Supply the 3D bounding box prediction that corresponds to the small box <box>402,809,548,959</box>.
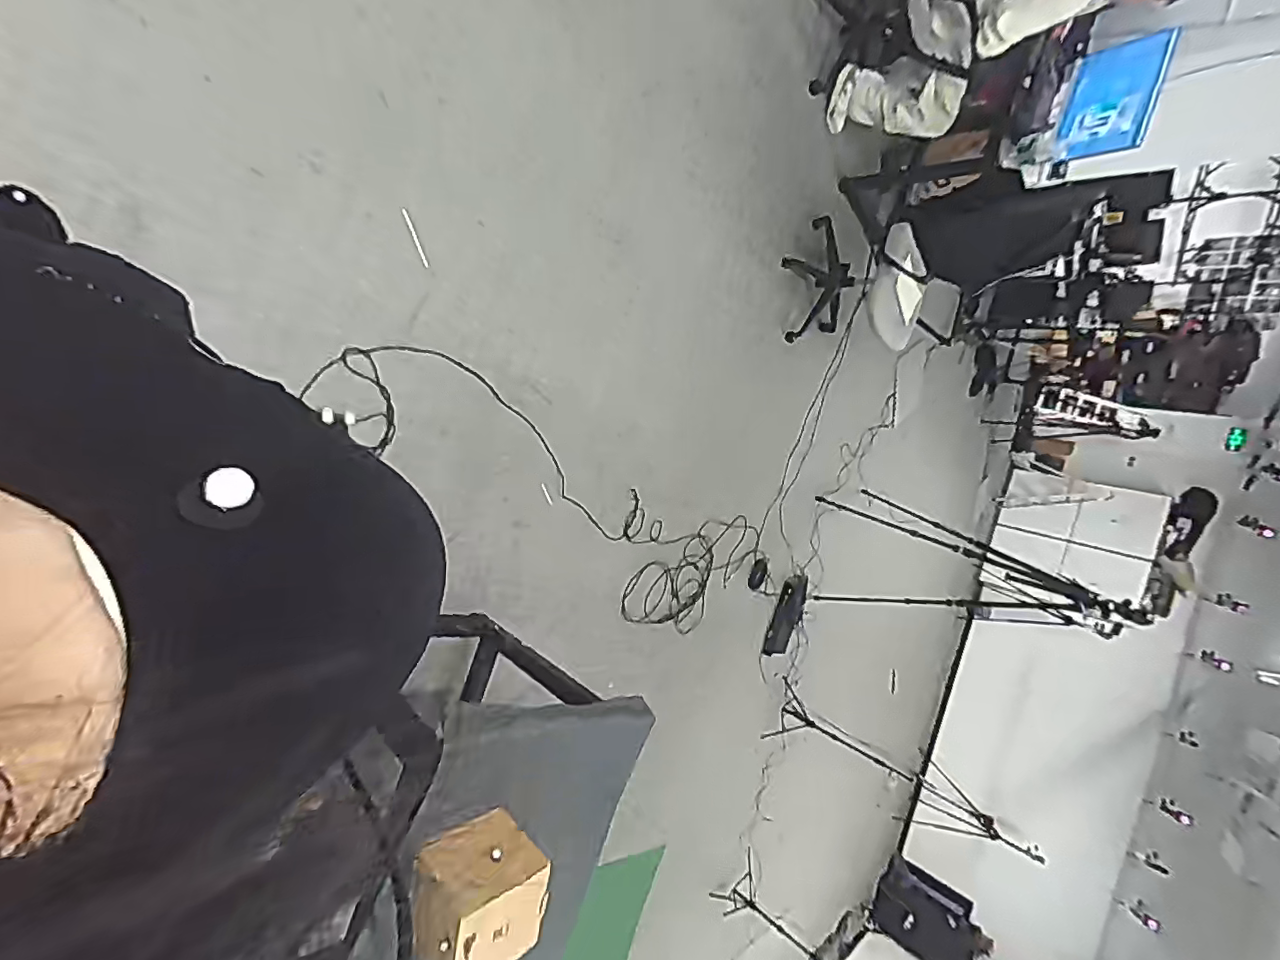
[{"bbox_3d":[-0.294,0.734,0.961,0.179,0.176,0.168,2,101,-48],"label":"small box"}]
